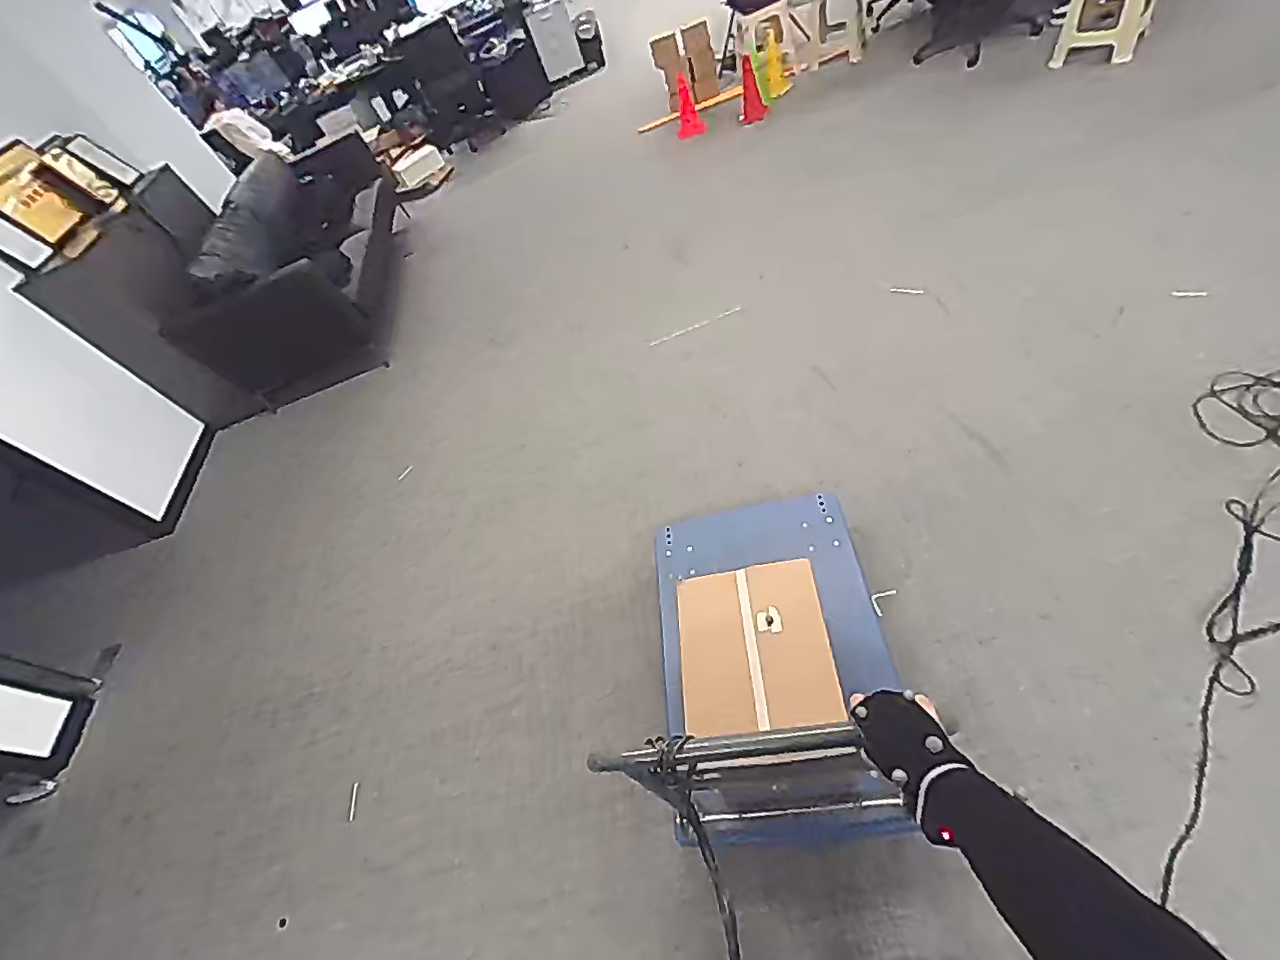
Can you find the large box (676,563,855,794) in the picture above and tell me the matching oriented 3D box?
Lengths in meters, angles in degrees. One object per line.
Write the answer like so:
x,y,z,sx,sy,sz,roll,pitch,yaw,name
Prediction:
0.284,0.464,1.251,0.320,0.320,0.408,-12,49,13,large box
